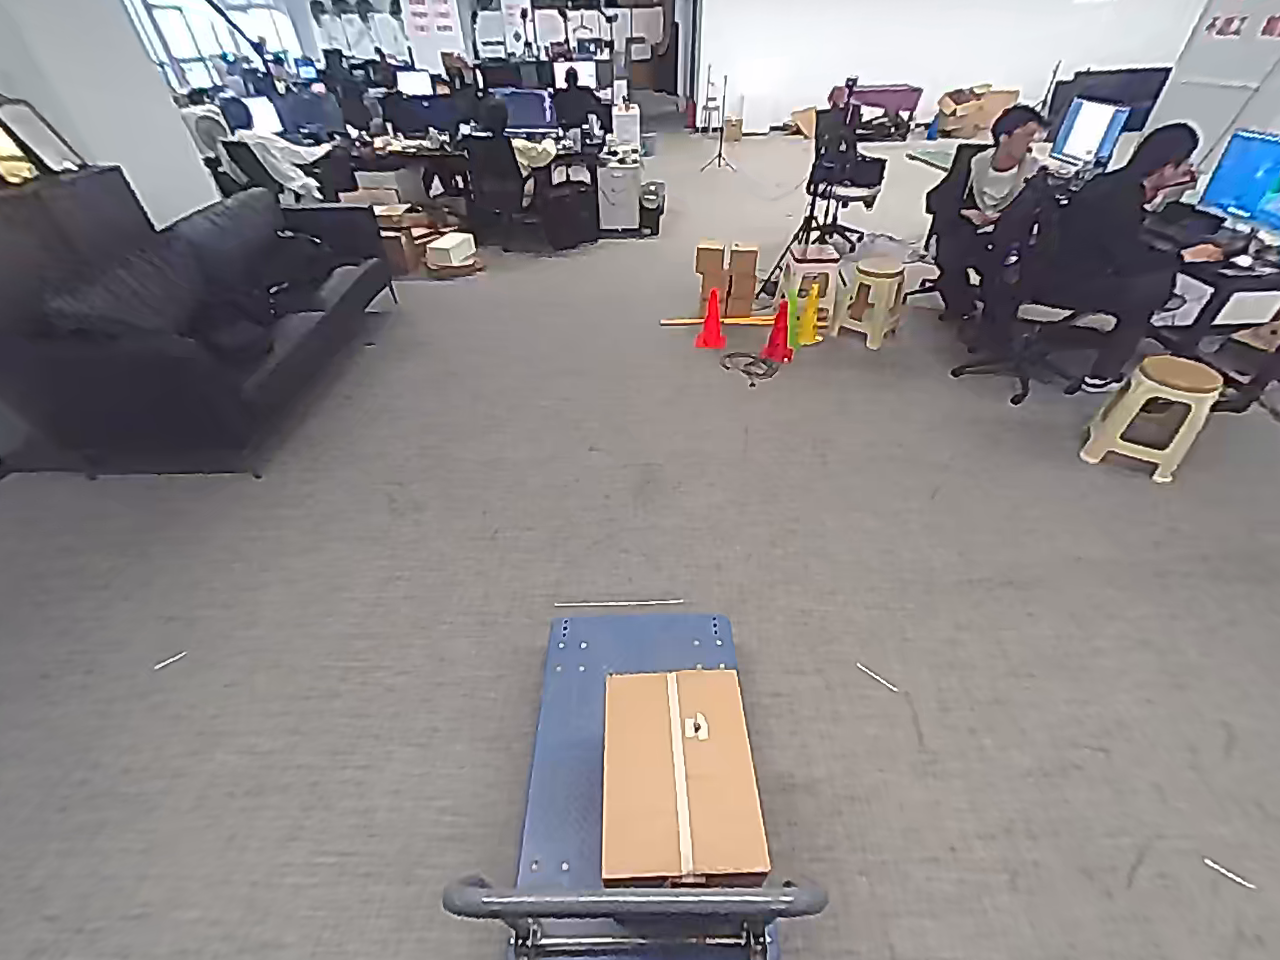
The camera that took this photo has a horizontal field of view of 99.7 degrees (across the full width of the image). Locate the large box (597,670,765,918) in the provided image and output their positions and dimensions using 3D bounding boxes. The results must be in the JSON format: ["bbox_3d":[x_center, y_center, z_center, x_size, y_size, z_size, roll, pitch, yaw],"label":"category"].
[{"bbox_3d":[0.074,0.701,1.226,0.320,0.320,0.408,-2,40,-1],"label":"large box"}]
